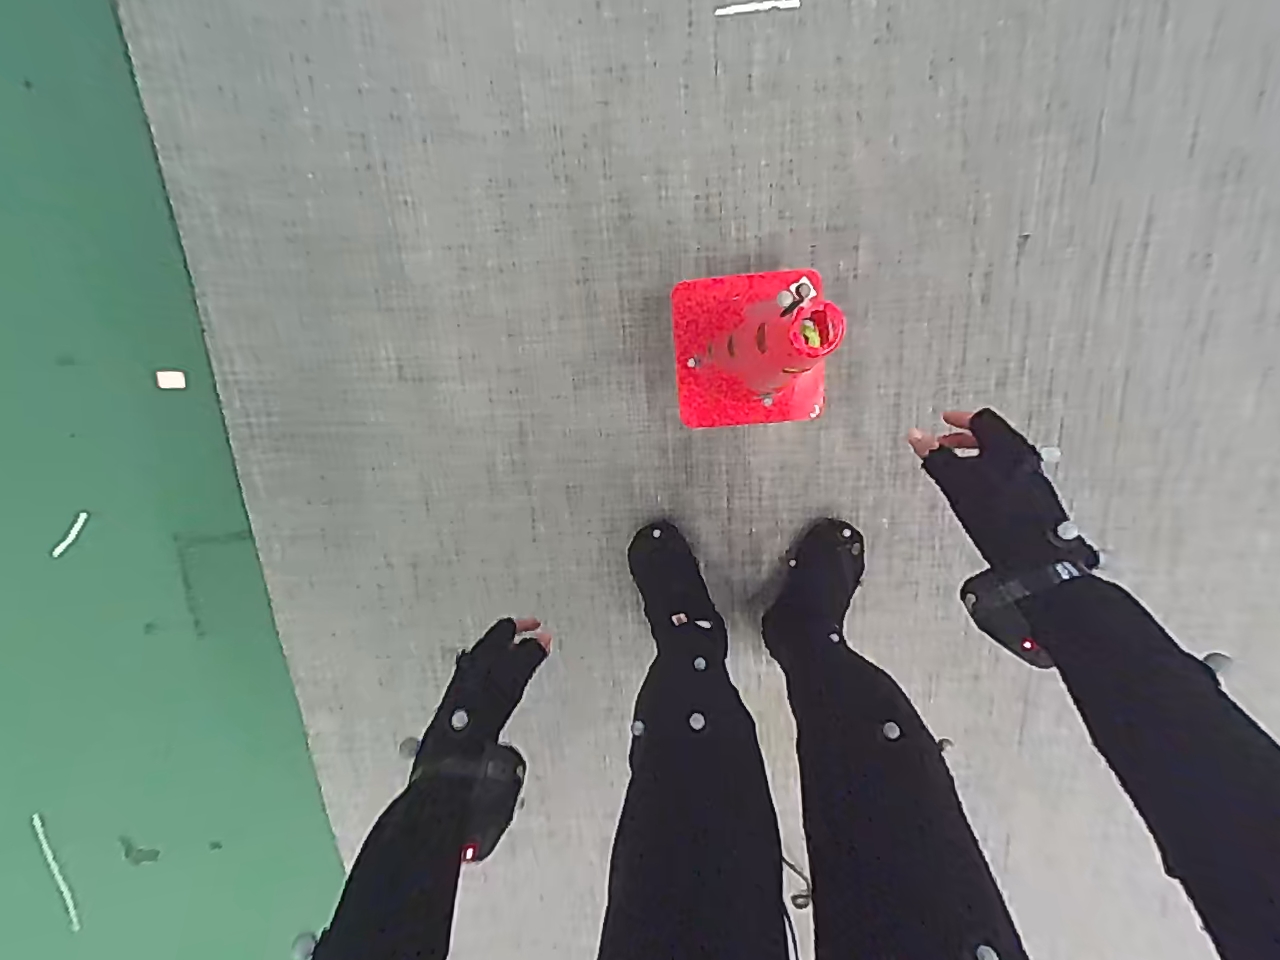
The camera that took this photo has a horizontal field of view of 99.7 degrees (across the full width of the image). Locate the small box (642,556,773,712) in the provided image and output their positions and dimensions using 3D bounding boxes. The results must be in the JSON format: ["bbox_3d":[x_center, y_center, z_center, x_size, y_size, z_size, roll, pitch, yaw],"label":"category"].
[{"bbox_3d":[0.101,0.243,0.885,0.168,0.176,0.179,-4,107,-12],"label":"small box"}]
